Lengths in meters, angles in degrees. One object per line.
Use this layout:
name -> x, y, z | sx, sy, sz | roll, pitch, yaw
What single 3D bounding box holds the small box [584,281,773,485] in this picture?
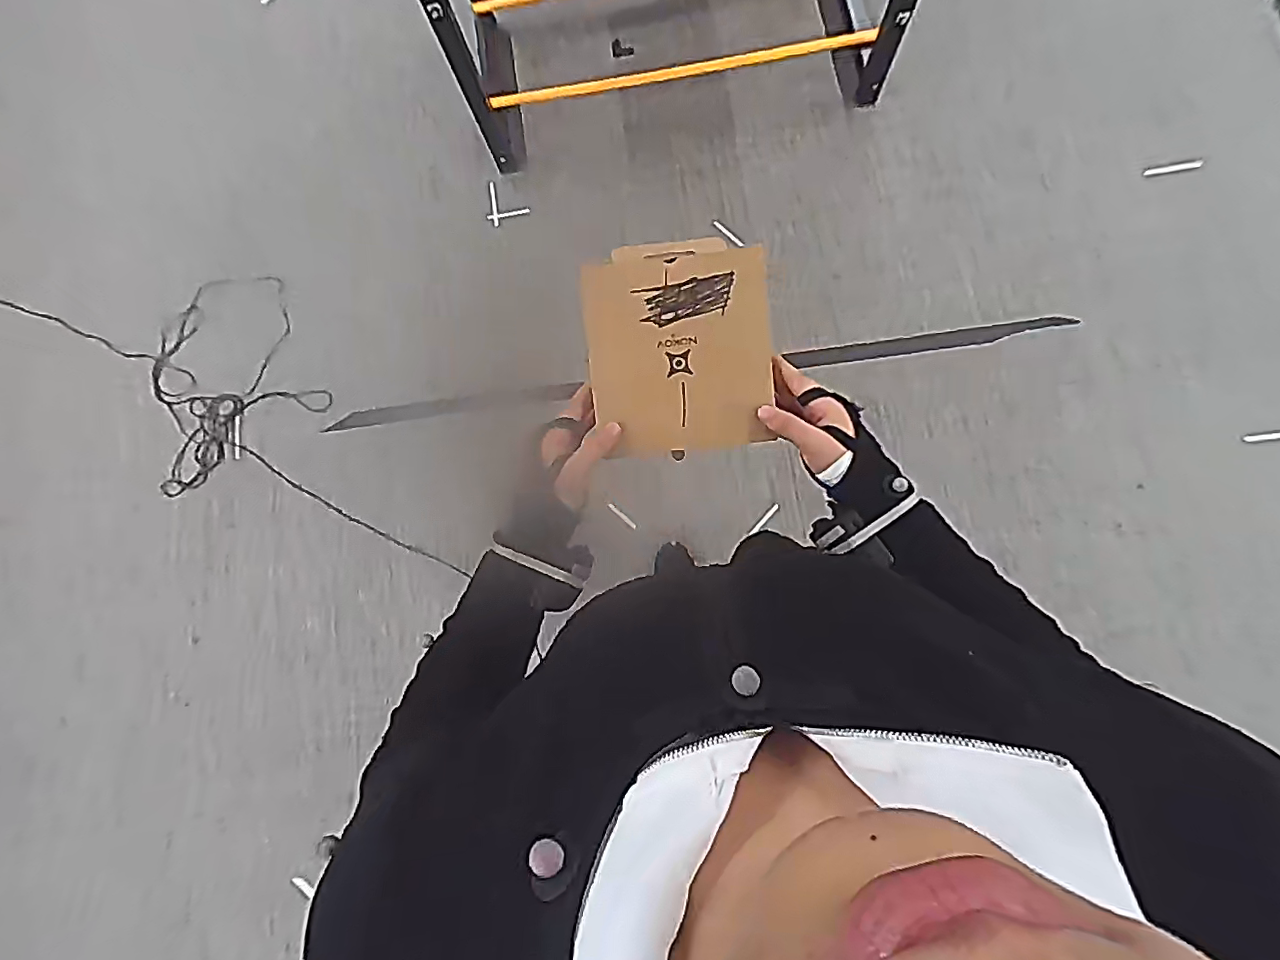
small box -> 0.037, -0.096, 0.579 | 0.168, 0.176, 0.179 | -6, 97, 2
